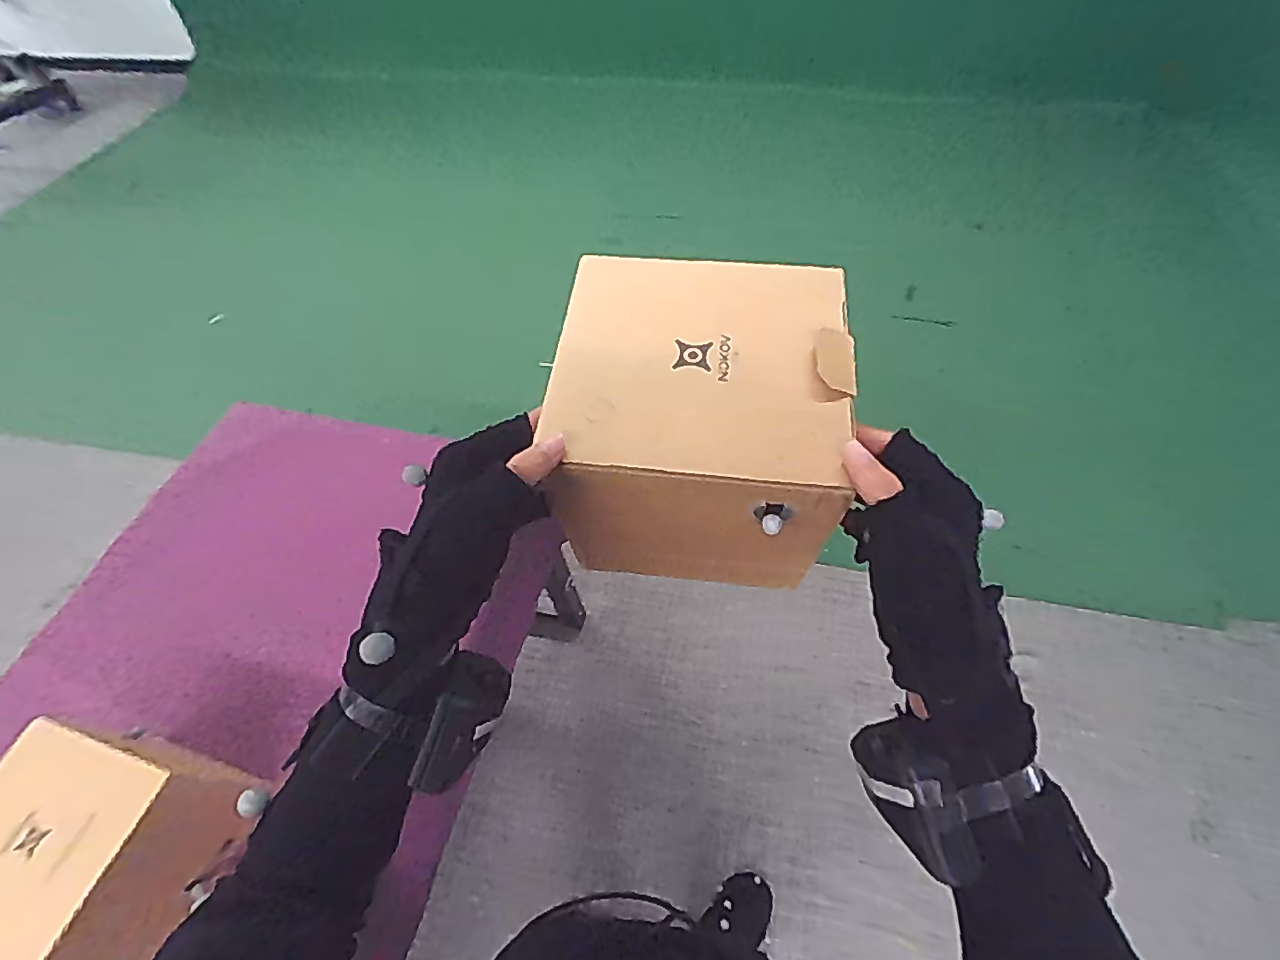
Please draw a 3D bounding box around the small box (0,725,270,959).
[{"bbox_3d":[-0.538,0.372,0.546,0.179,0.176,0.168,13,59,11],"label":"small box"}]

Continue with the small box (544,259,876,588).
[{"bbox_3d":[0.047,-0.031,0.387,0.179,0.176,0.168,5,61,5],"label":"small box"}]
